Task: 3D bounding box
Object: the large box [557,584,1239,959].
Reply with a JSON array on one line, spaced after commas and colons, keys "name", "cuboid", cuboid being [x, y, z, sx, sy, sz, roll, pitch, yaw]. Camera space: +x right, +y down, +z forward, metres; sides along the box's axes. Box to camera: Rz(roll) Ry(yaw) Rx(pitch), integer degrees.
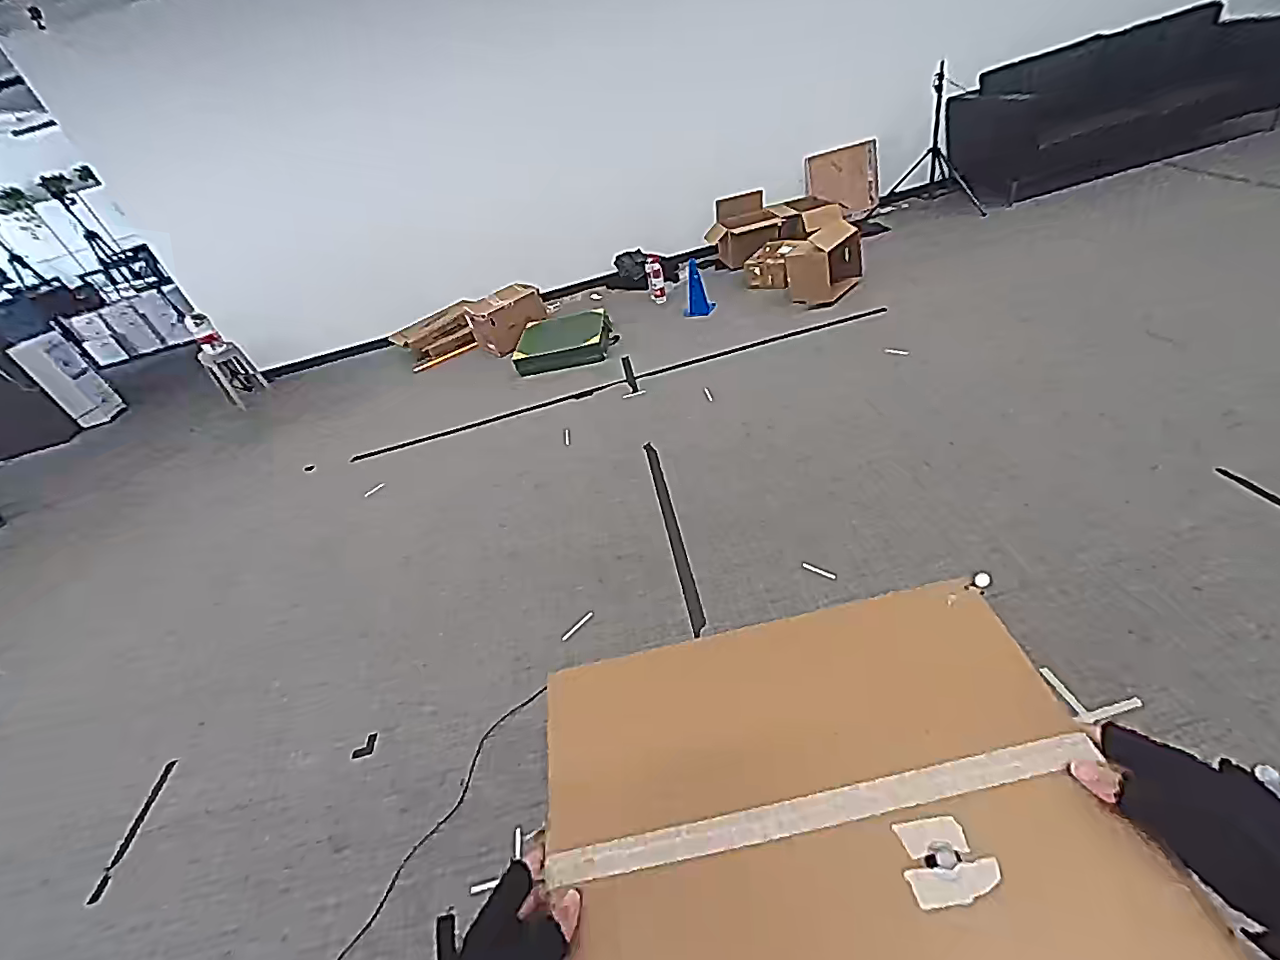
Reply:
[{"name": "large box", "cuboid": [0.163, 0.354, 0.507, 0.408, 0.320, 0.320, -14, 44, 0]}]
